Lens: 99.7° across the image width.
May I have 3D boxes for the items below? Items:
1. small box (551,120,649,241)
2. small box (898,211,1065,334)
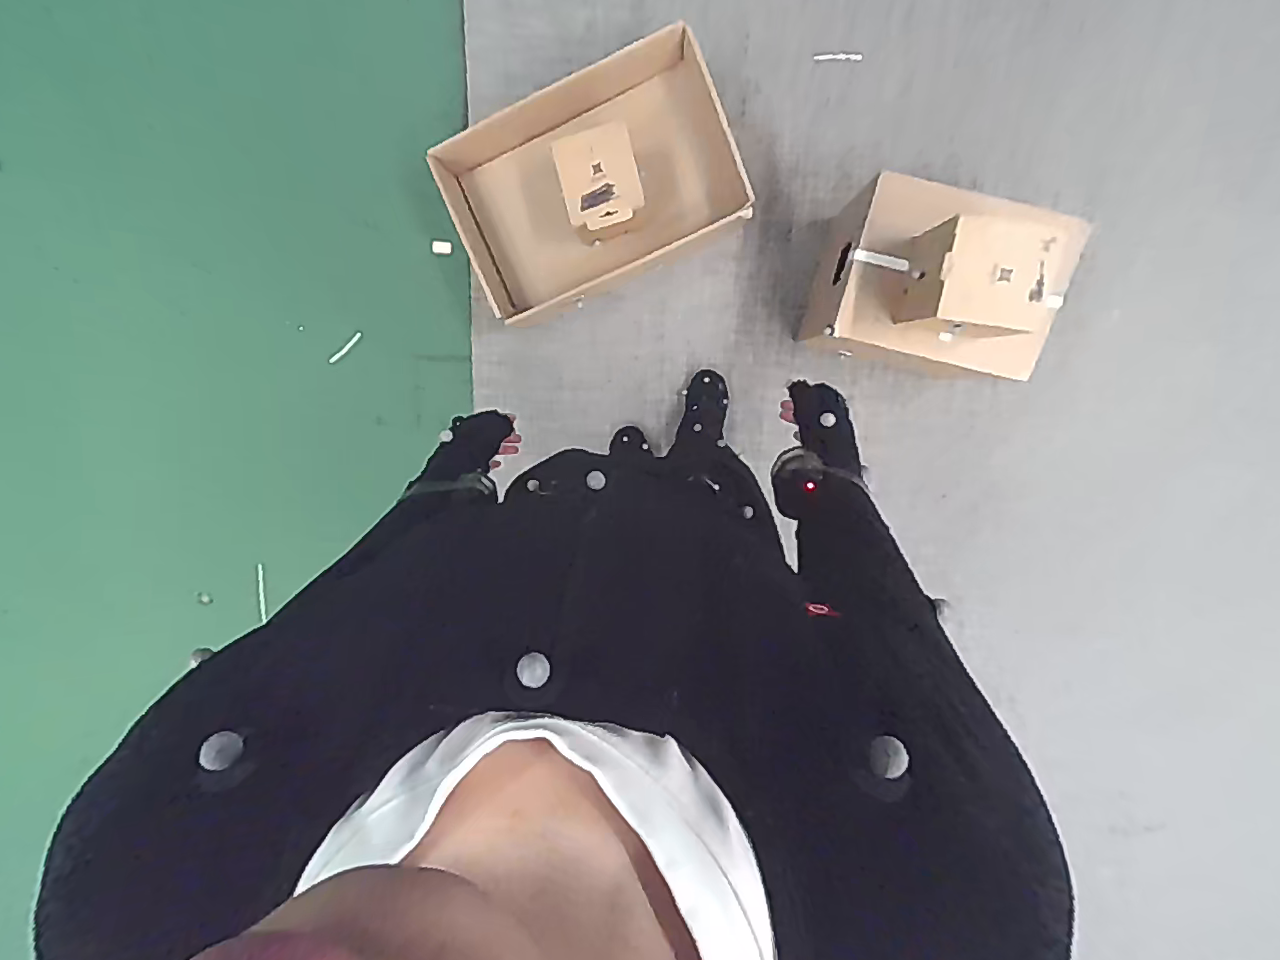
[{"bbox_3d":[-0.080,-0.655,1.211,0.168,0.176,0.179,-14,98,7],"label":"small box"},{"bbox_3d":[0.587,-0.356,0.957,0.179,0.176,0.168,9,102,2],"label":"small box"}]
